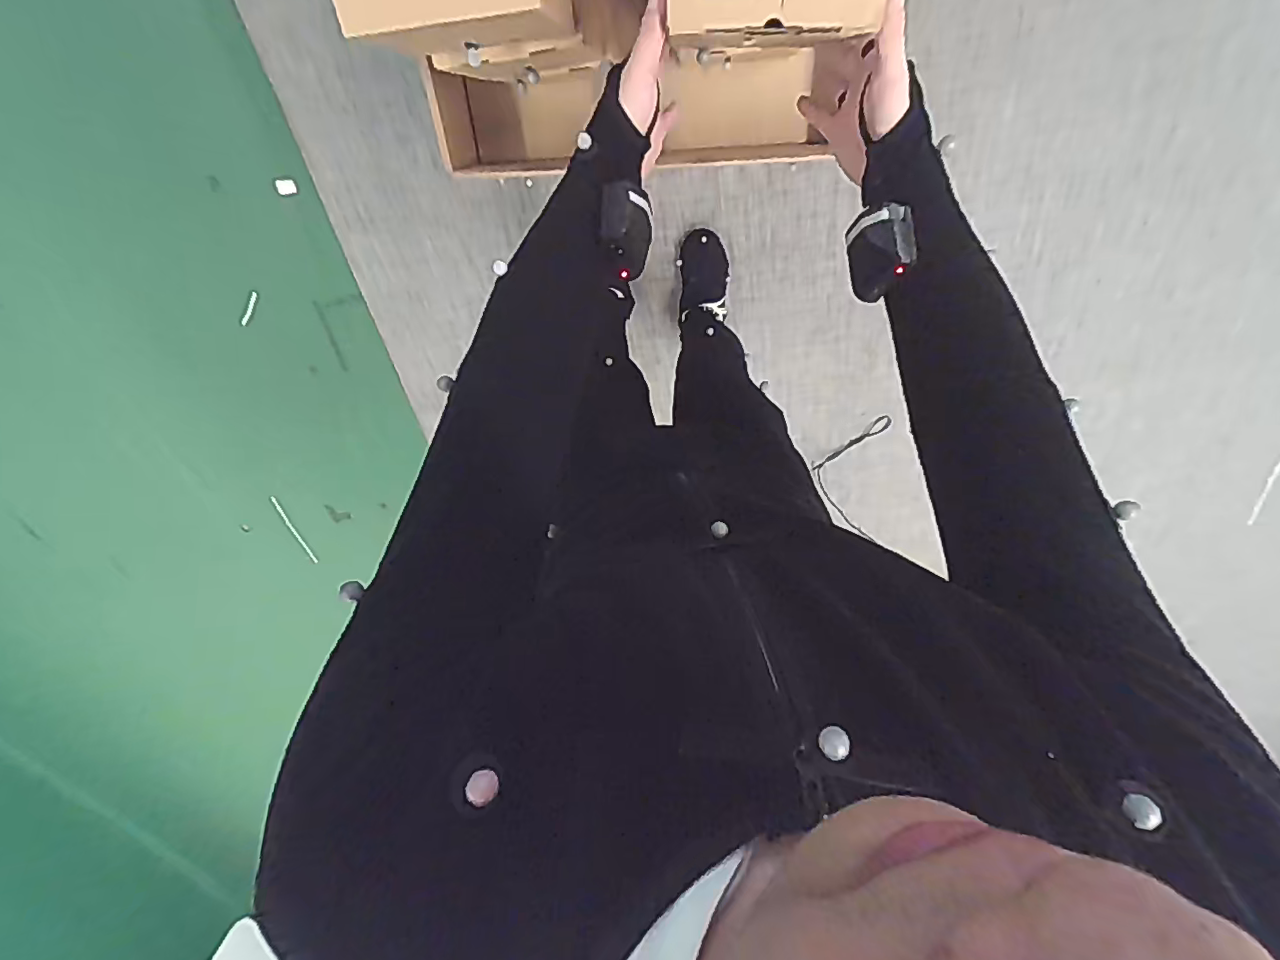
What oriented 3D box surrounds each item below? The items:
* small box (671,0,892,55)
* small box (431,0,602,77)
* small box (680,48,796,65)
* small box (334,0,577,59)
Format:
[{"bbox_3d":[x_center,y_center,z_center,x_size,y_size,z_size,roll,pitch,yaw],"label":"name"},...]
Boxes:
[{"bbox_3d":[0.113,-0.453,0.432,0.168,0.176,0.179,2,126,2],"label":"small box"},{"bbox_3d":[-0.138,-0.550,0.577,0.168,0.176,0.179,-3,125,6],"label":"small box"},{"bbox_3d":[0.132,-0.651,0.693,0.168,0.176,0.179,-1,126,4],"label":"small box"},{"bbox_3d":[-0.152,-0.464,0.438,0.168,0.176,0.179,-2,125,5],"label":"small box"}]
